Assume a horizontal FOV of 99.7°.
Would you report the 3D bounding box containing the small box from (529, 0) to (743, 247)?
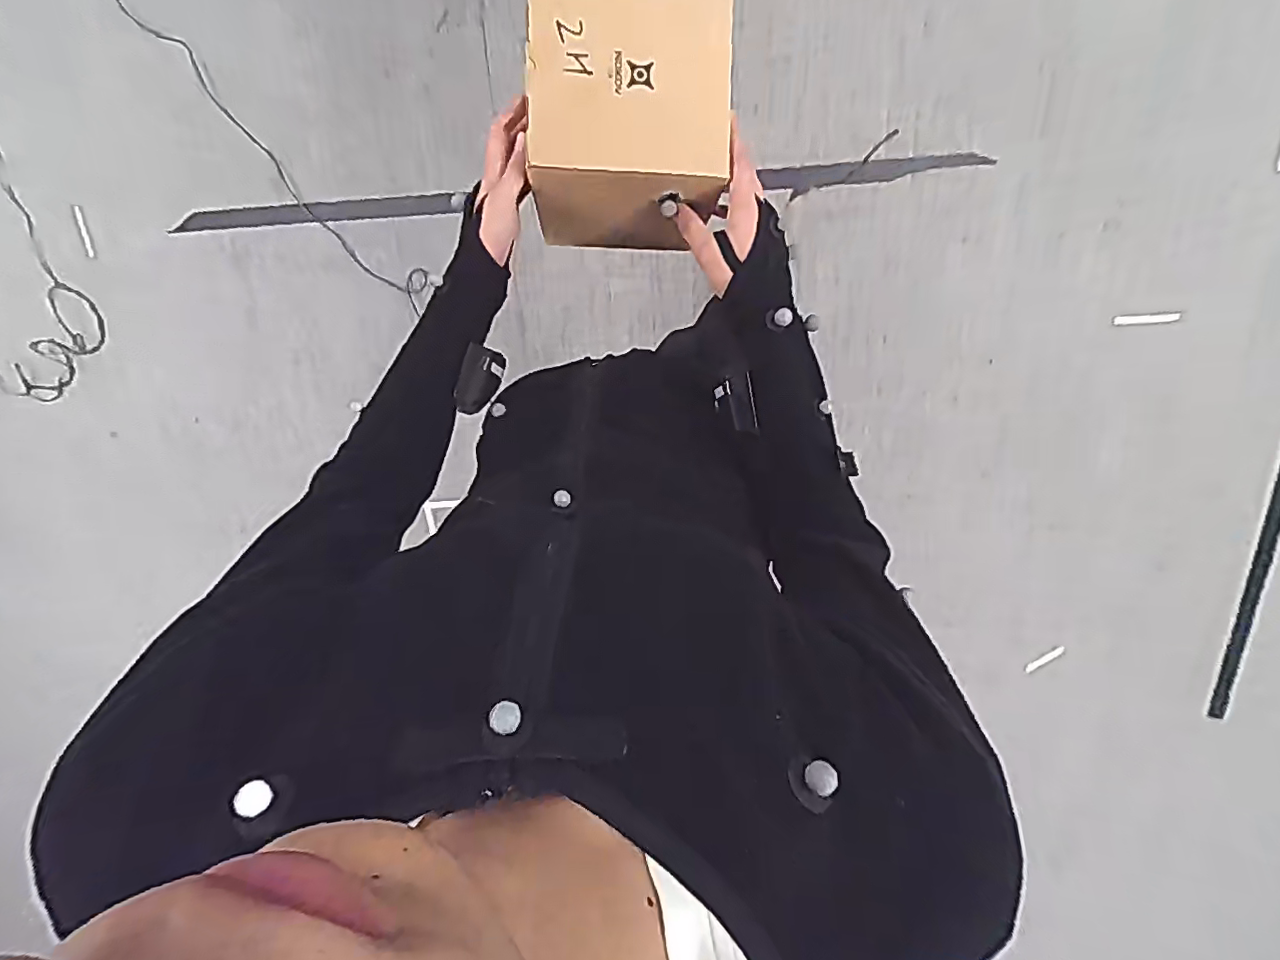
[{"bbox_3d":[-0.009,-0.343,0.528,0.179,0.176,0.168,2,91,-4],"label":"small box"}]
